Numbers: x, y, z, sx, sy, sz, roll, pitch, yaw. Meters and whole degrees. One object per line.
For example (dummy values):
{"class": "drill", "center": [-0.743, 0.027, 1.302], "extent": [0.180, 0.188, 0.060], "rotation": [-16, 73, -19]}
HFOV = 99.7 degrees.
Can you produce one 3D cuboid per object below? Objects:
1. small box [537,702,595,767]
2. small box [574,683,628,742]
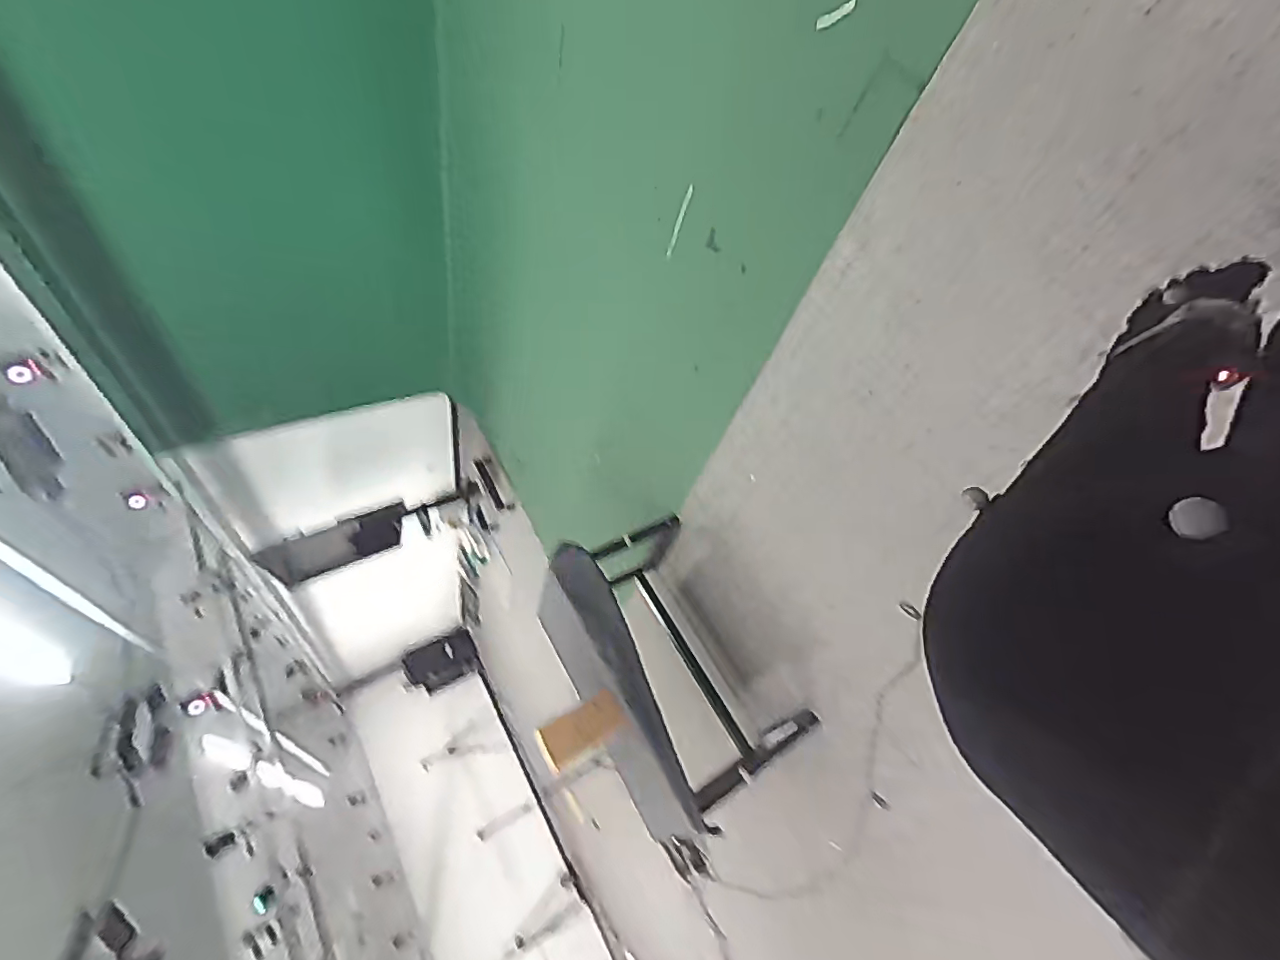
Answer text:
{"class": "small box", "center": [-0.311, 1.051, 2.249], "extent": [0.179, 0.176, 0.168], "rotation": [54, 148, 25]}
{"class": "small box", "center": [-0.177, 0.998, 2.323], "extent": [0.179, 0.176, 0.168], "rotation": [54, 150, 23]}
